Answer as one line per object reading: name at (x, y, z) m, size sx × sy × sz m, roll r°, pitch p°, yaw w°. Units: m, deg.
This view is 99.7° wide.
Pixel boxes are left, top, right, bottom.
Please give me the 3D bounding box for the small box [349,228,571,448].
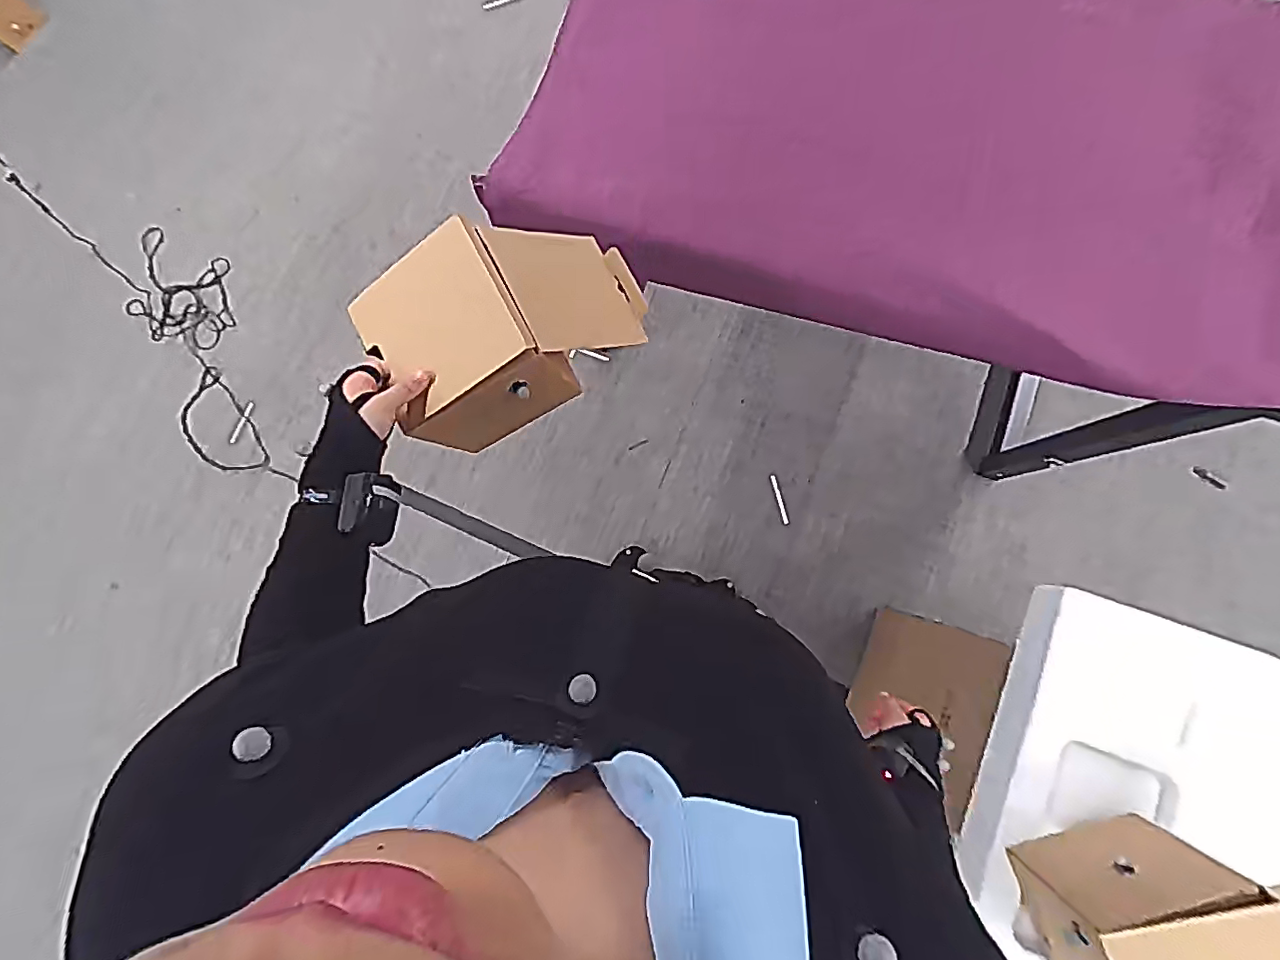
small box at (-0.200, -0.157, 0.658) m, size 0.179 × 0.176 × 0.168 m, roll -28°, pitch 80°, yaw 6°
